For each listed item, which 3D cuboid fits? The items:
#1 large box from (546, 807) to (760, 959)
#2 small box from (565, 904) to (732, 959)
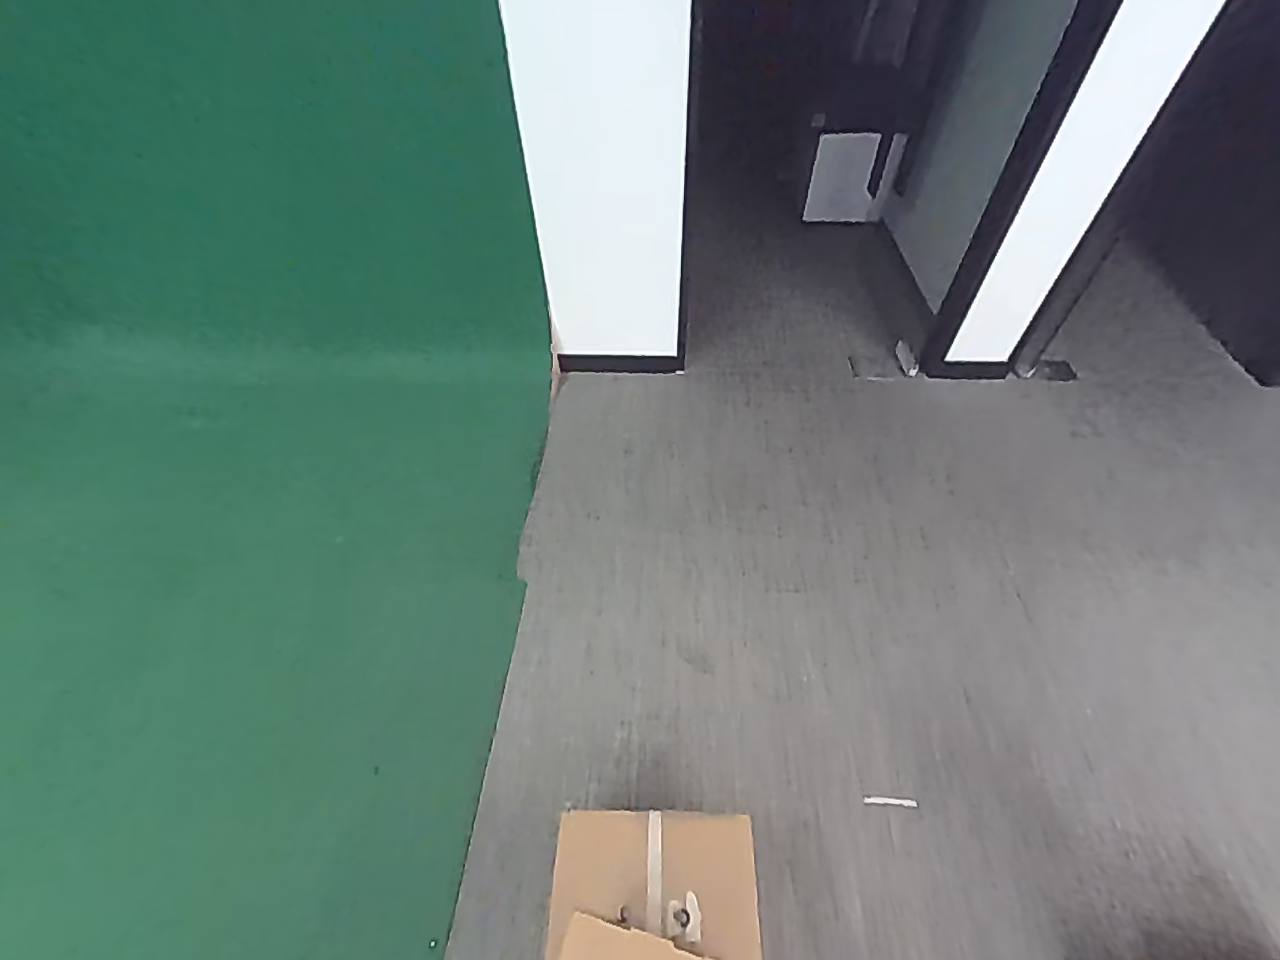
[{"bbox_3d":[0.024,0.794,0.875,0.320,0.320,0.408,0,48,3],"label":"large box"},{"bbox_3d":[-0.003,0.561,0.540,0.168,0.176,0.179,10,52,13],"label":"small box"}]
